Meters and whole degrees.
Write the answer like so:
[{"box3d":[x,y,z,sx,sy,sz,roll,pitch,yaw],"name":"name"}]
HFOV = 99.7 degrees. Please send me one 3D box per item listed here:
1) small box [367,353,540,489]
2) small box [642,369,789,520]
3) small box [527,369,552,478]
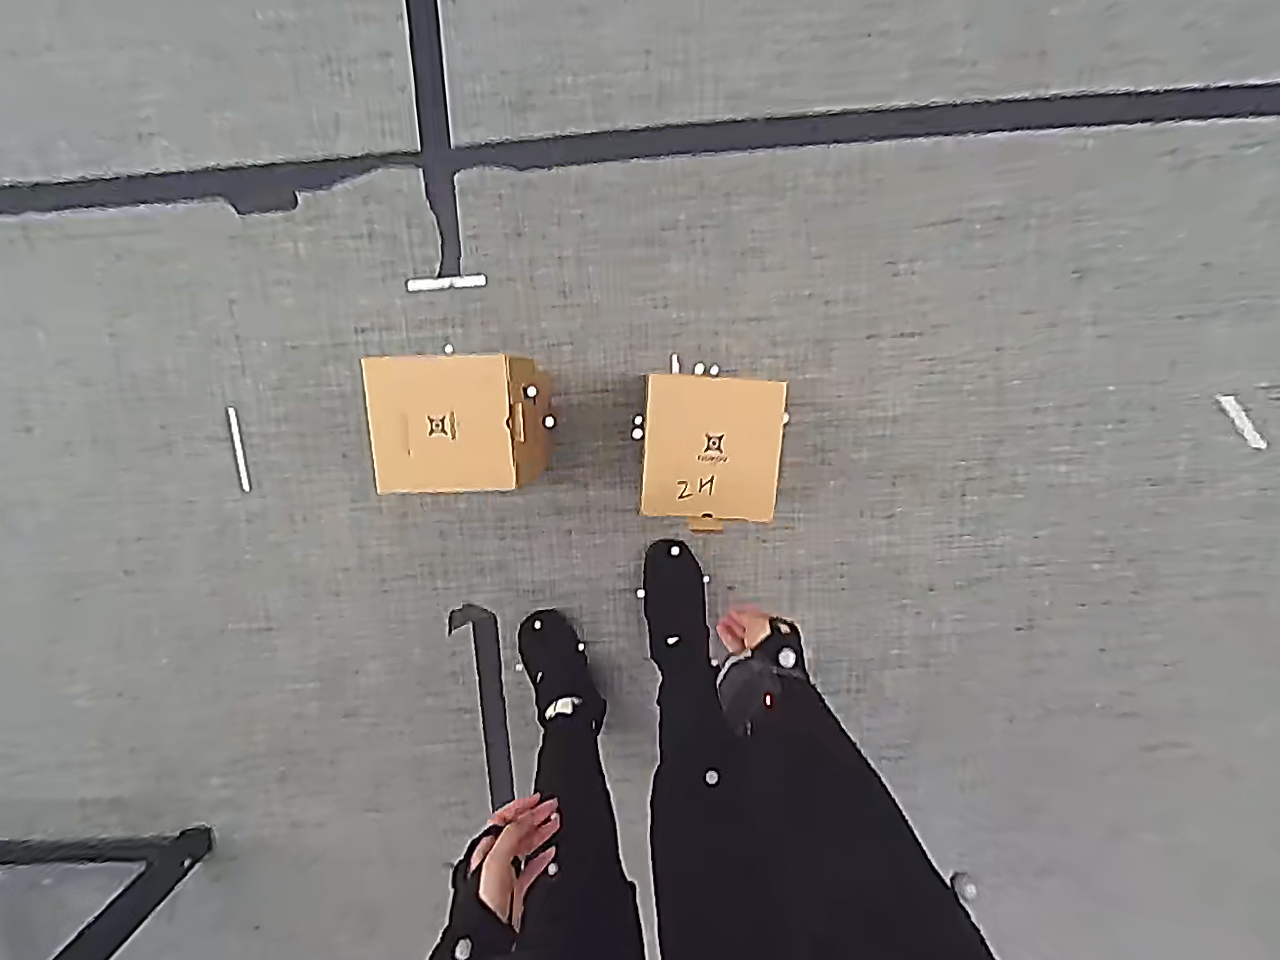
[{"box3d":[-0.233,-0.084,0.726,0.179,0.176,0.168,-1,100,1],"name":"small box"},{"box3d":[0.090,-0.055,0.731,0.168,0.176,0.179,4,101,0],"name":"small box"},{"box3d":[-0.242,-0.103,0.889,0.179,0.176,0.168,3,100,-2],"name":"small box"}]
